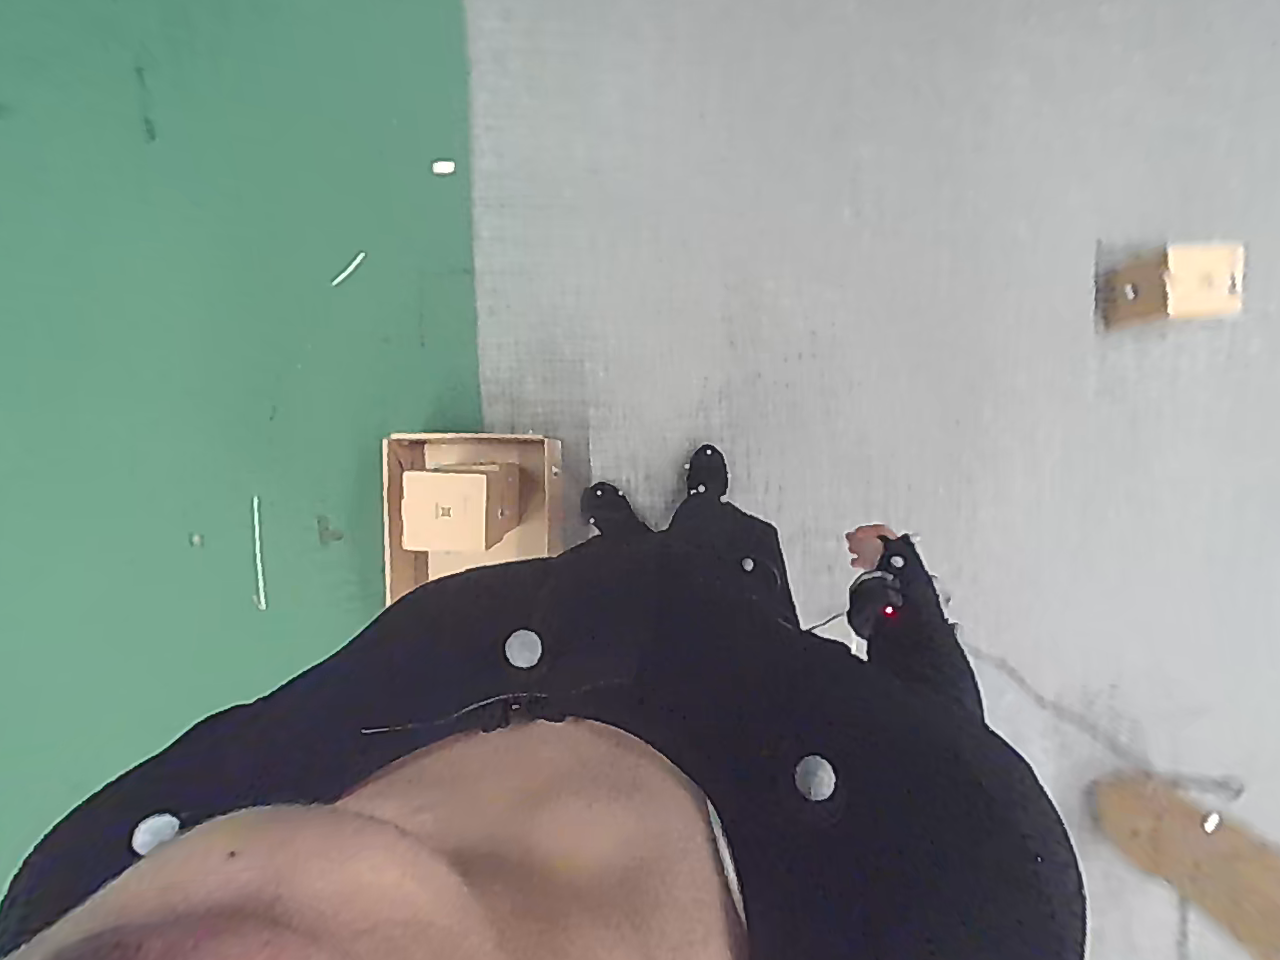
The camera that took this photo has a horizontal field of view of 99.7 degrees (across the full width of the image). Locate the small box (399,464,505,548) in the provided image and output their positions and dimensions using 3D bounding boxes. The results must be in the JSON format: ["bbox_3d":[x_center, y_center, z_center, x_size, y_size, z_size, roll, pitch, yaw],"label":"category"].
[{"bbox_3d":[-0.404,0.052,1.182,0.179,0.176,0.168,1,94,-1],"label":"small box"}]

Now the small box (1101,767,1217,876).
[{"bbox_3d":[1.355,0.878,1.412,0.168,0.176,0.179,-10,93,2],"label":"small box"}]

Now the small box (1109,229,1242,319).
[{"bbox_3d":[1.314,-0.502,1.338,0.179,0.176,0.168,-2,93,2],"label":"small box"}]

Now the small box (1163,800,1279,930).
[{"bbox_3d":[1.369,0.881,1.248,0.168,0.176,0.179,-7,92,1],"label":"small box"}]
